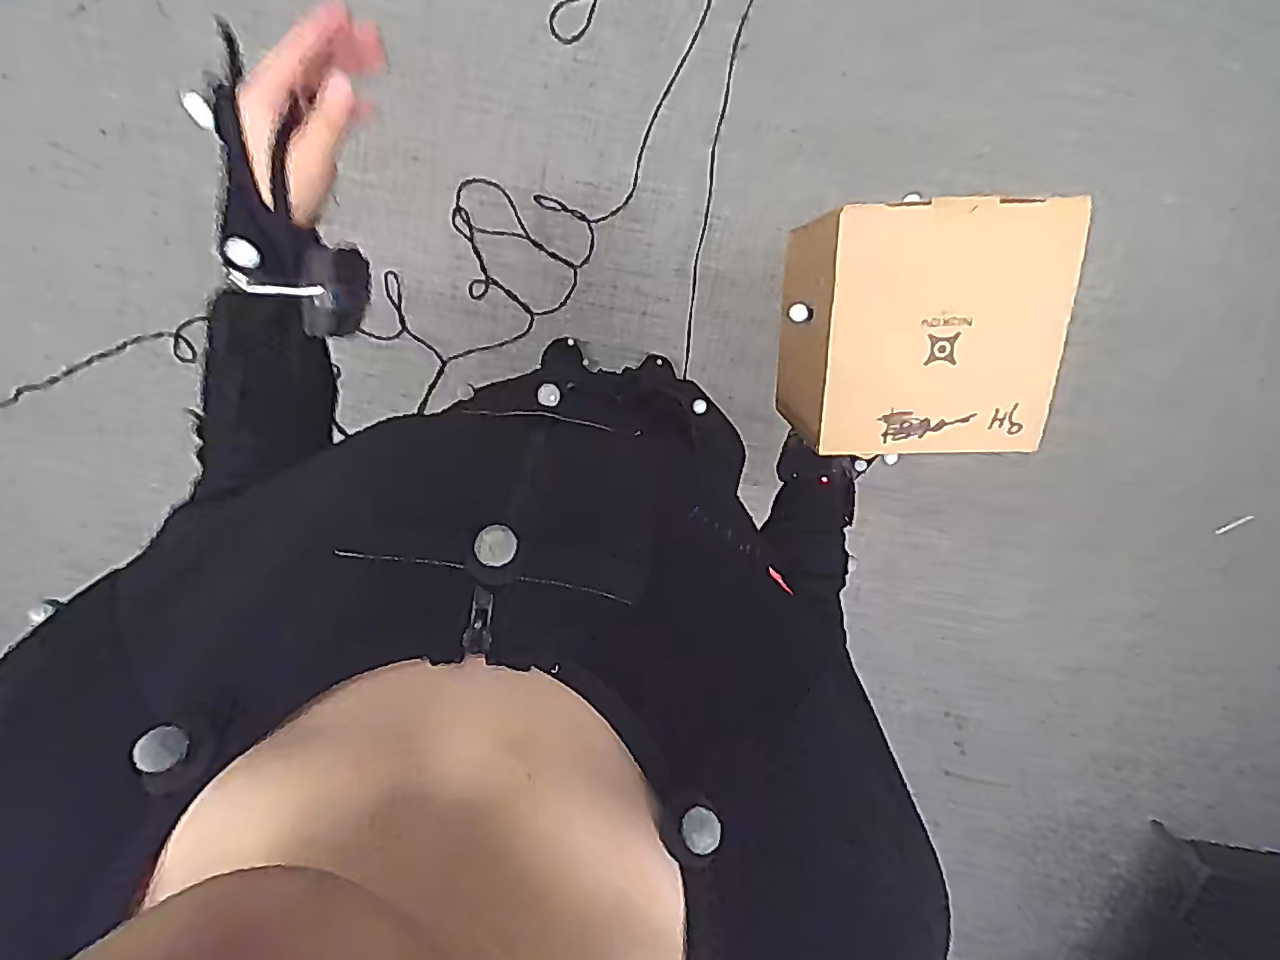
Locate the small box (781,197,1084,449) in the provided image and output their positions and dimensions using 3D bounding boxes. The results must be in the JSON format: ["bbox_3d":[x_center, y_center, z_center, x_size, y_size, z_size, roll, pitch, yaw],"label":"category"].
[{"bbox_3d":[0.223,-0.132,0.469,0.168,0.176,0.179,-1,109,3],"label":"small box"}]
